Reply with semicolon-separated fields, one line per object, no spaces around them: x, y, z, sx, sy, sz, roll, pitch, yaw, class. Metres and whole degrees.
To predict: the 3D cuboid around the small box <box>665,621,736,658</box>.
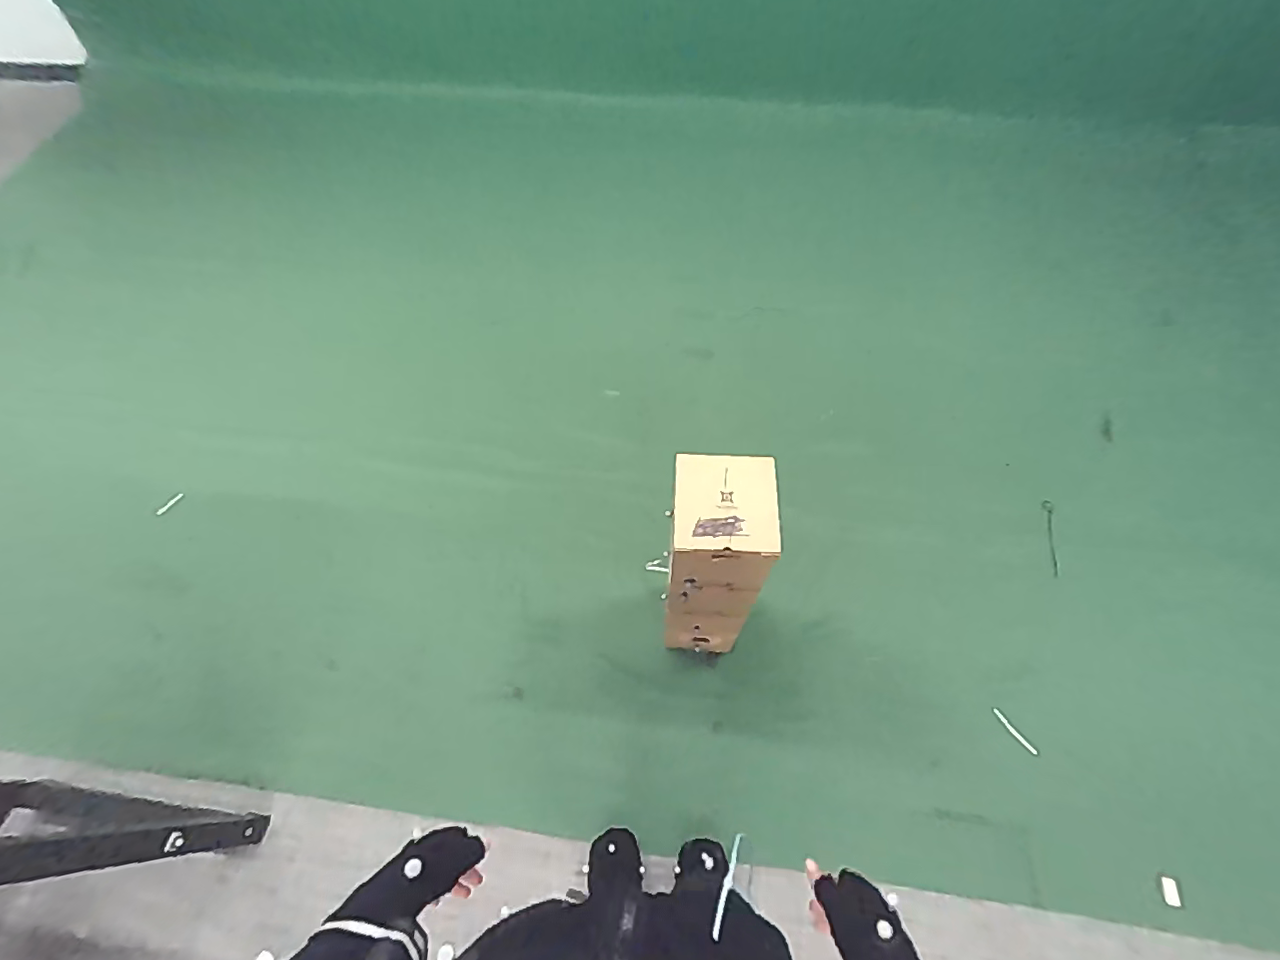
0.152;0.334;1.362;0.168;0.176;0.179;4;60;5;small box

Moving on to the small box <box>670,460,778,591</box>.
0.138;0.084;0.939;0.168;0.176;0.179;2;59;2;small box

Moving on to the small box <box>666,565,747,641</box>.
0.146;0.252;1.222;0.168;0.176;0.179;3;61;3;small box
